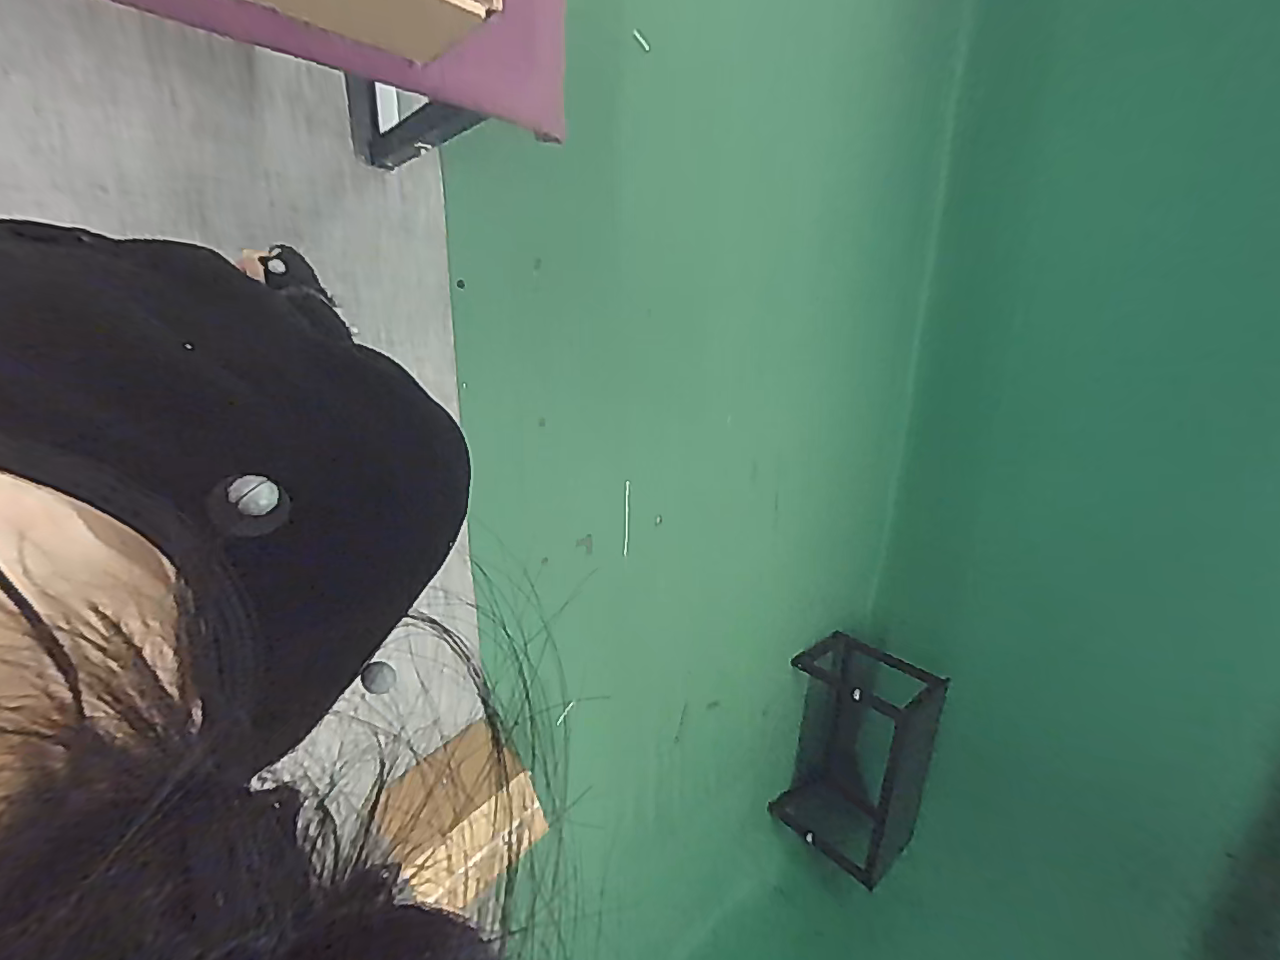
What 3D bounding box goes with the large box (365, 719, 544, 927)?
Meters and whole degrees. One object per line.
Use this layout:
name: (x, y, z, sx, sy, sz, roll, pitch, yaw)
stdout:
large box: (-0.590, 1.080, 1.747, 0.408, 0.320, 0.320, -30, 123, -35)
